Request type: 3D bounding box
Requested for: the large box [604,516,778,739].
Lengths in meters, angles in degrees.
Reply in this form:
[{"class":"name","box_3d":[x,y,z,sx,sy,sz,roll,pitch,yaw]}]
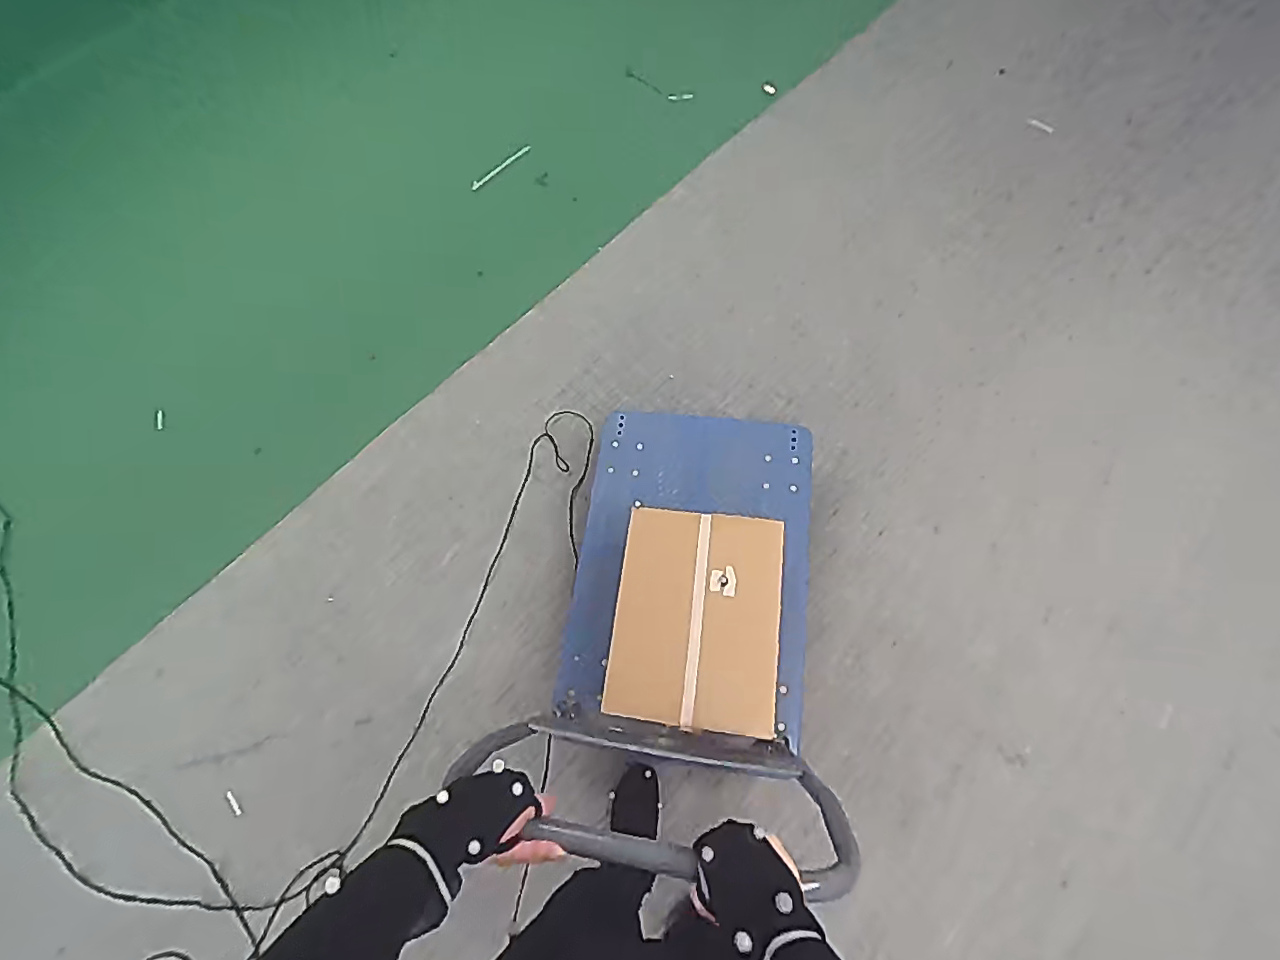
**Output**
[{"class":"large box","box_3d":[0.123,0.328,1.192,0.320,0.320,0.408,6,68,8]}]
